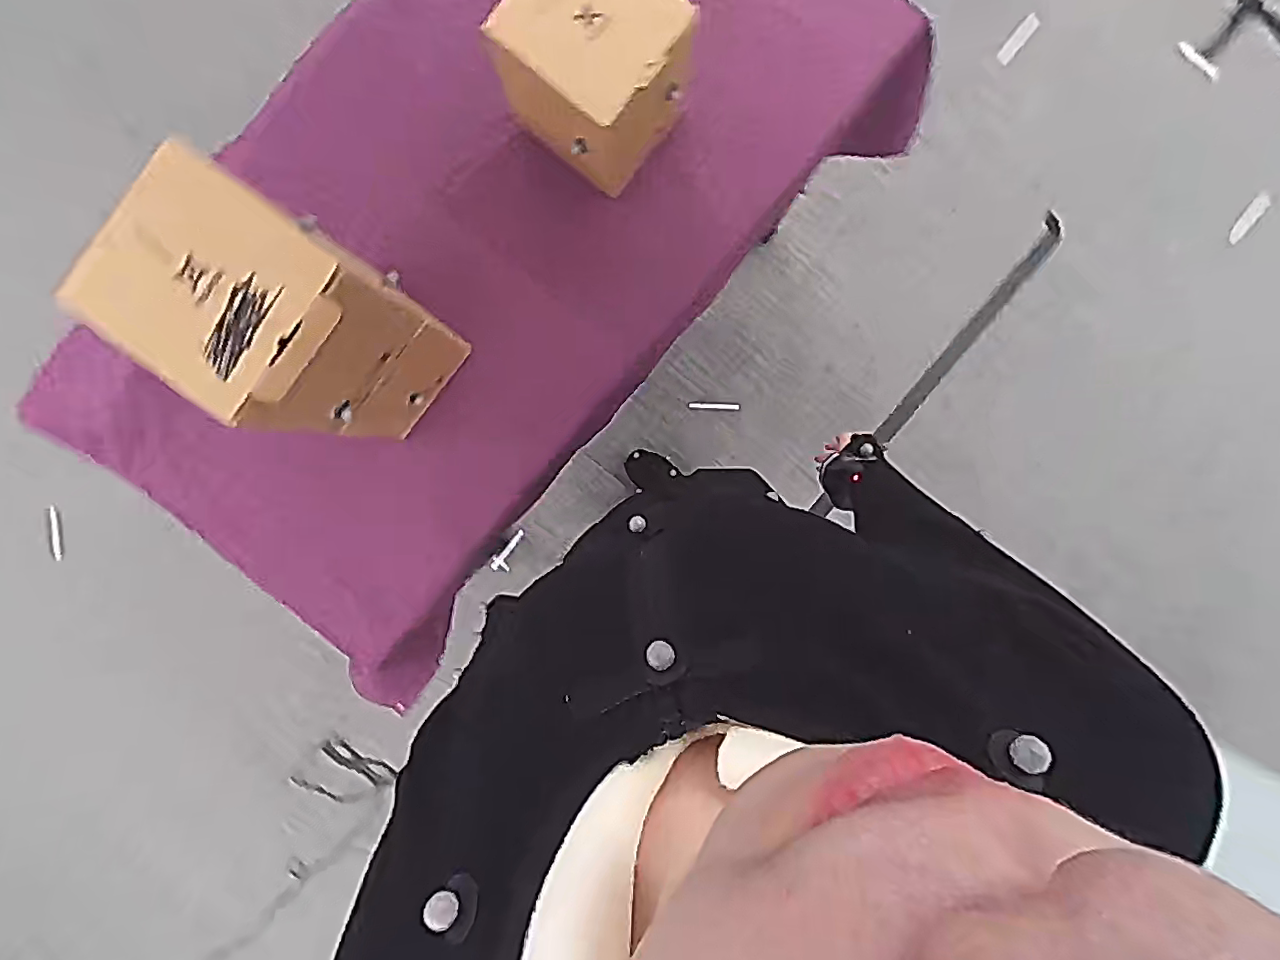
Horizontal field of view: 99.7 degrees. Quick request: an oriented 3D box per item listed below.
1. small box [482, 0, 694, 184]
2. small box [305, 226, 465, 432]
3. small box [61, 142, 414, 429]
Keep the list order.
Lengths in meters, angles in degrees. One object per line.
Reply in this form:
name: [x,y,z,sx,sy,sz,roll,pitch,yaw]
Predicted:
small box: [-0.056,-0.505,0.668,0.179,0.176,0.168,39,92,-2]
small box: [-0.357,-0.172,0.685,0.179,0.176,0.168,38,92,-3]
small box: [-0.357,-0.164,0.521,0.179,0.176,0.168,37,92,-2]
